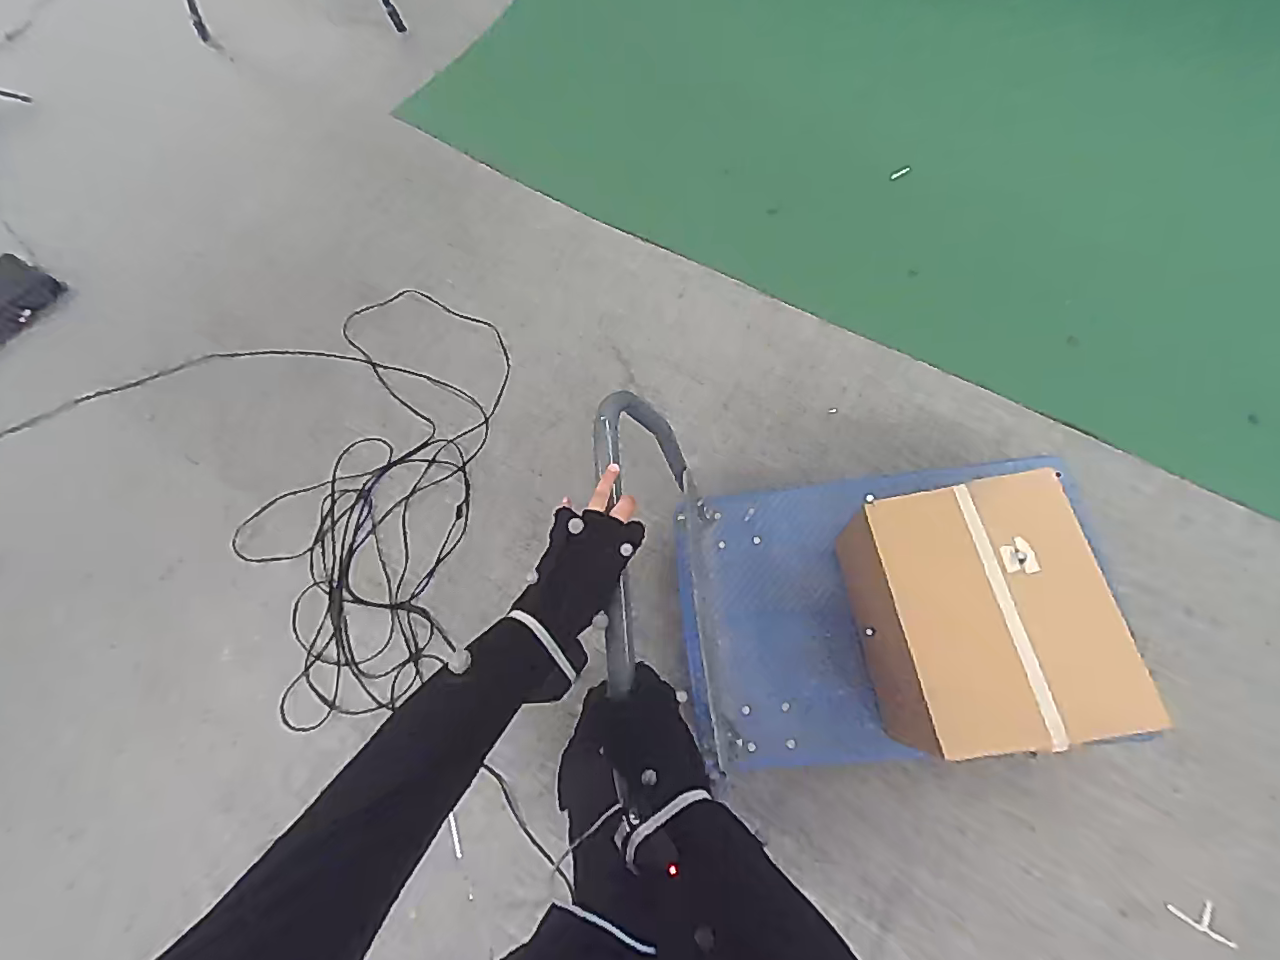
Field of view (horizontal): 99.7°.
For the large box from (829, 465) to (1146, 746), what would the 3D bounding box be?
[{"bbox_3d":[0.578,0.237,1.003,0.320,0.320,0.408,-12,68,5],"label":"large box"}]
